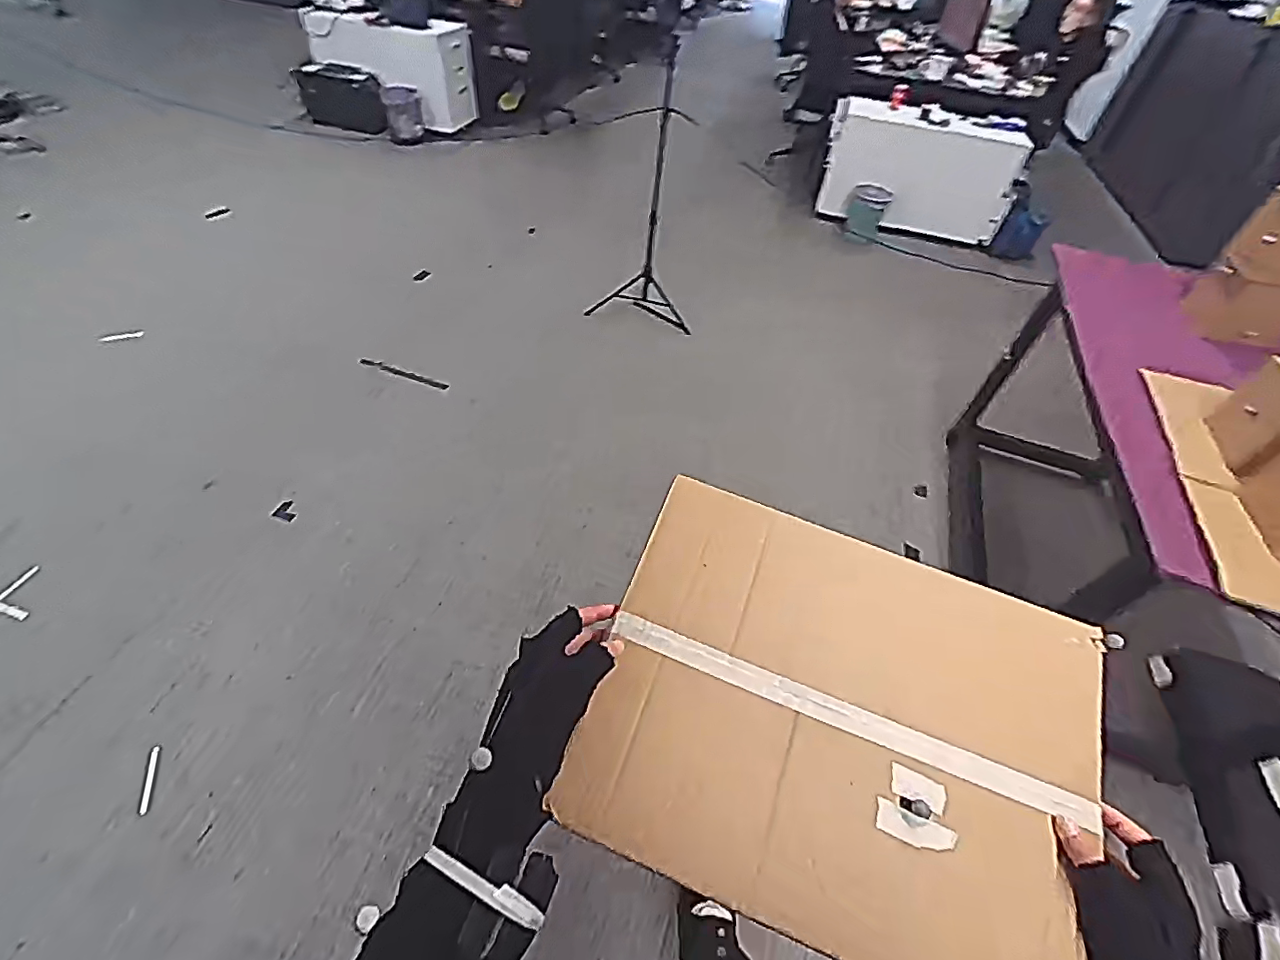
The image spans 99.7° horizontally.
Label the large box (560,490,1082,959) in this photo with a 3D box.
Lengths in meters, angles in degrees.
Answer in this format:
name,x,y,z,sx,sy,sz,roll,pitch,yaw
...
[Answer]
name,x,y,z,sx,sy,sz,roll,pitch,yaw
large box,0.165,0.264,0.601,0.408,0.320,0.320,20,66,8
